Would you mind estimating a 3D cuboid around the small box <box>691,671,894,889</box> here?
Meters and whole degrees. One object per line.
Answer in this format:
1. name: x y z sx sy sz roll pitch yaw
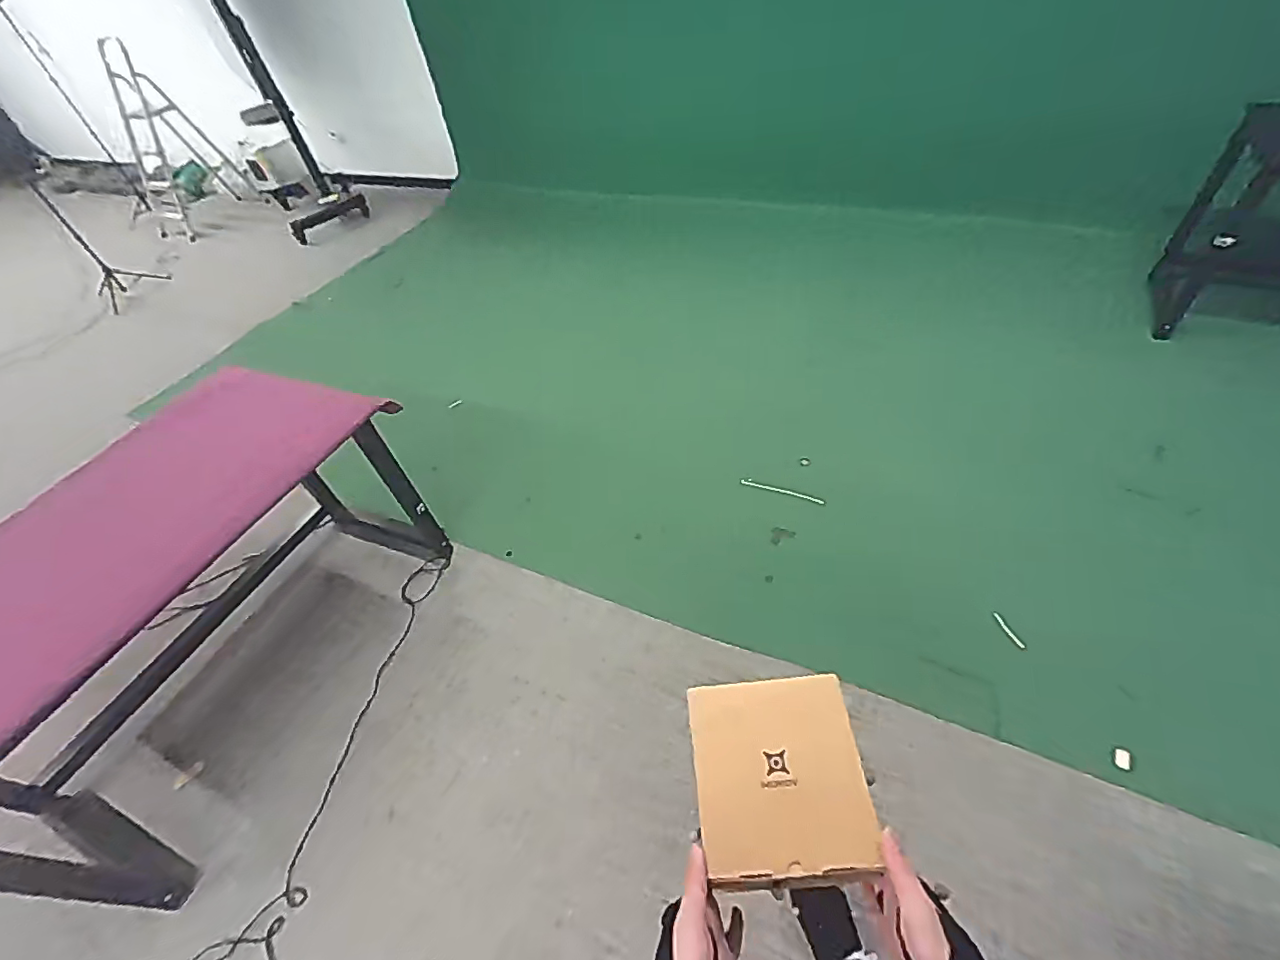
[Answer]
1. small box: 0.148 0.331 0.593 0.168 0.176 0.179 -7 51 3
